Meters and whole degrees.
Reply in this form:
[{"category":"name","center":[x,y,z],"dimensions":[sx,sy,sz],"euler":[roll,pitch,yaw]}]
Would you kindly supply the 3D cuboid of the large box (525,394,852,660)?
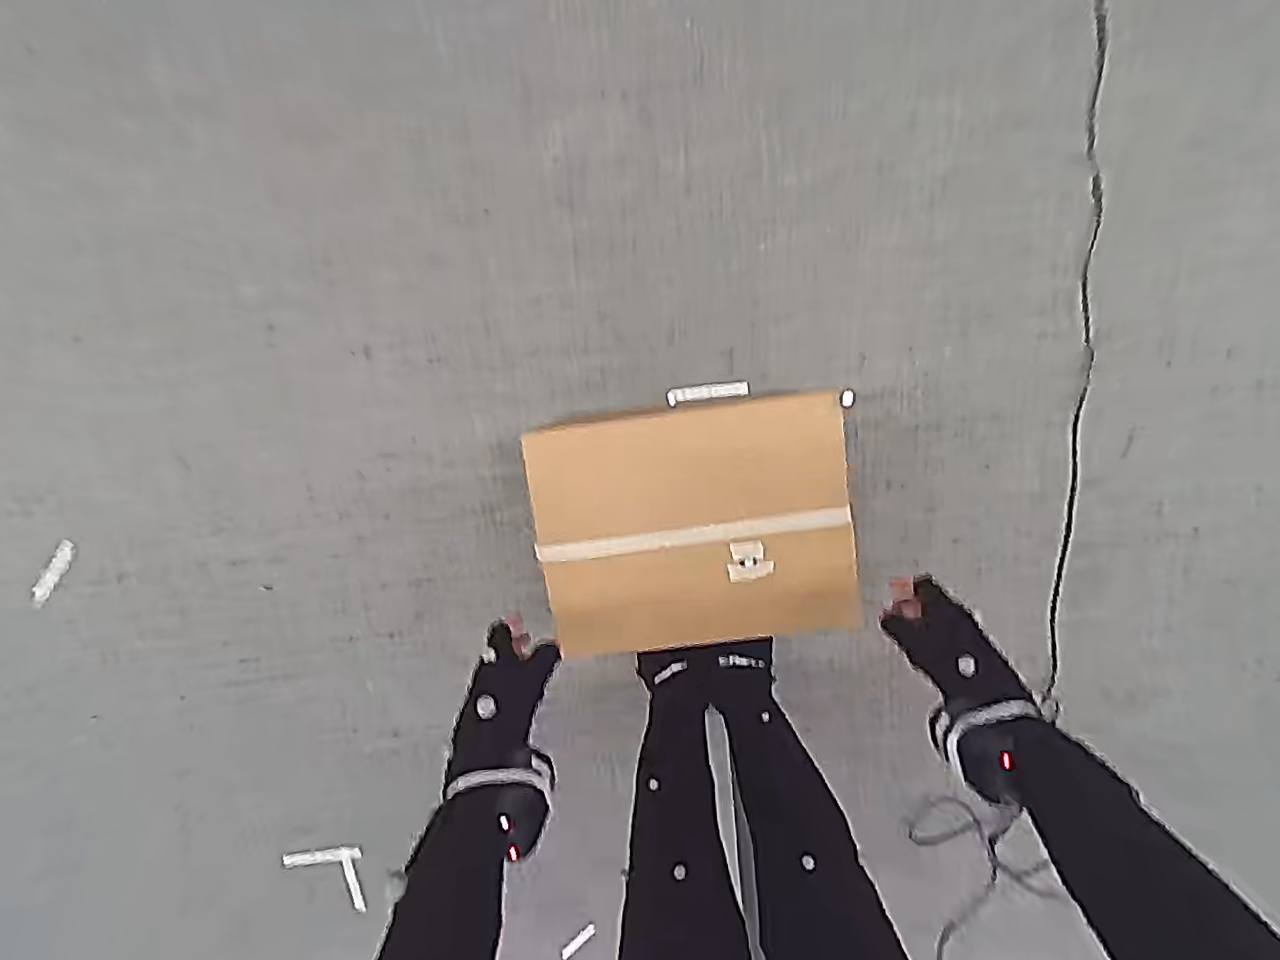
[{"category":"large box","center":[0.069,0.046,0.860],"dimensions":[0.408,0.320,0.320],"euler":[-8,100,2]}]
